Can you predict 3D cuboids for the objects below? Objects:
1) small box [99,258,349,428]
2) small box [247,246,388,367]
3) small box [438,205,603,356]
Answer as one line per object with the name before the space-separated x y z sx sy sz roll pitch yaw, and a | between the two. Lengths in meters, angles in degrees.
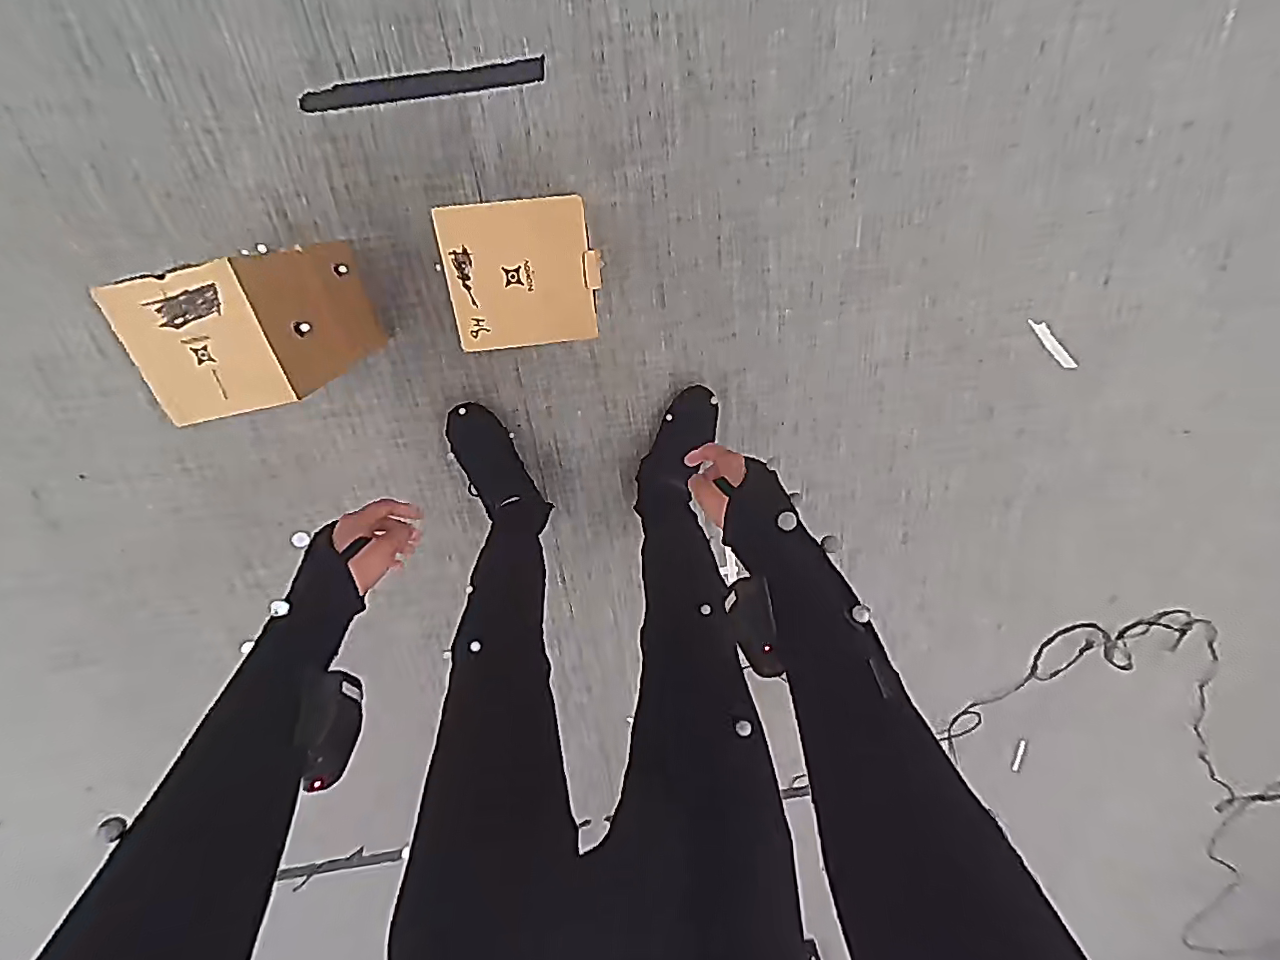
small box | -0.530 -0.192 0.723 0.168 0.176 0.179 -11 117 1
small box | -0.538 -0.269 0.868 0.168 0.176 0.179 -13 117 1
small box | -0.148 -0.272 0.722 0.179 0.176 0.168 -6 116 -4
